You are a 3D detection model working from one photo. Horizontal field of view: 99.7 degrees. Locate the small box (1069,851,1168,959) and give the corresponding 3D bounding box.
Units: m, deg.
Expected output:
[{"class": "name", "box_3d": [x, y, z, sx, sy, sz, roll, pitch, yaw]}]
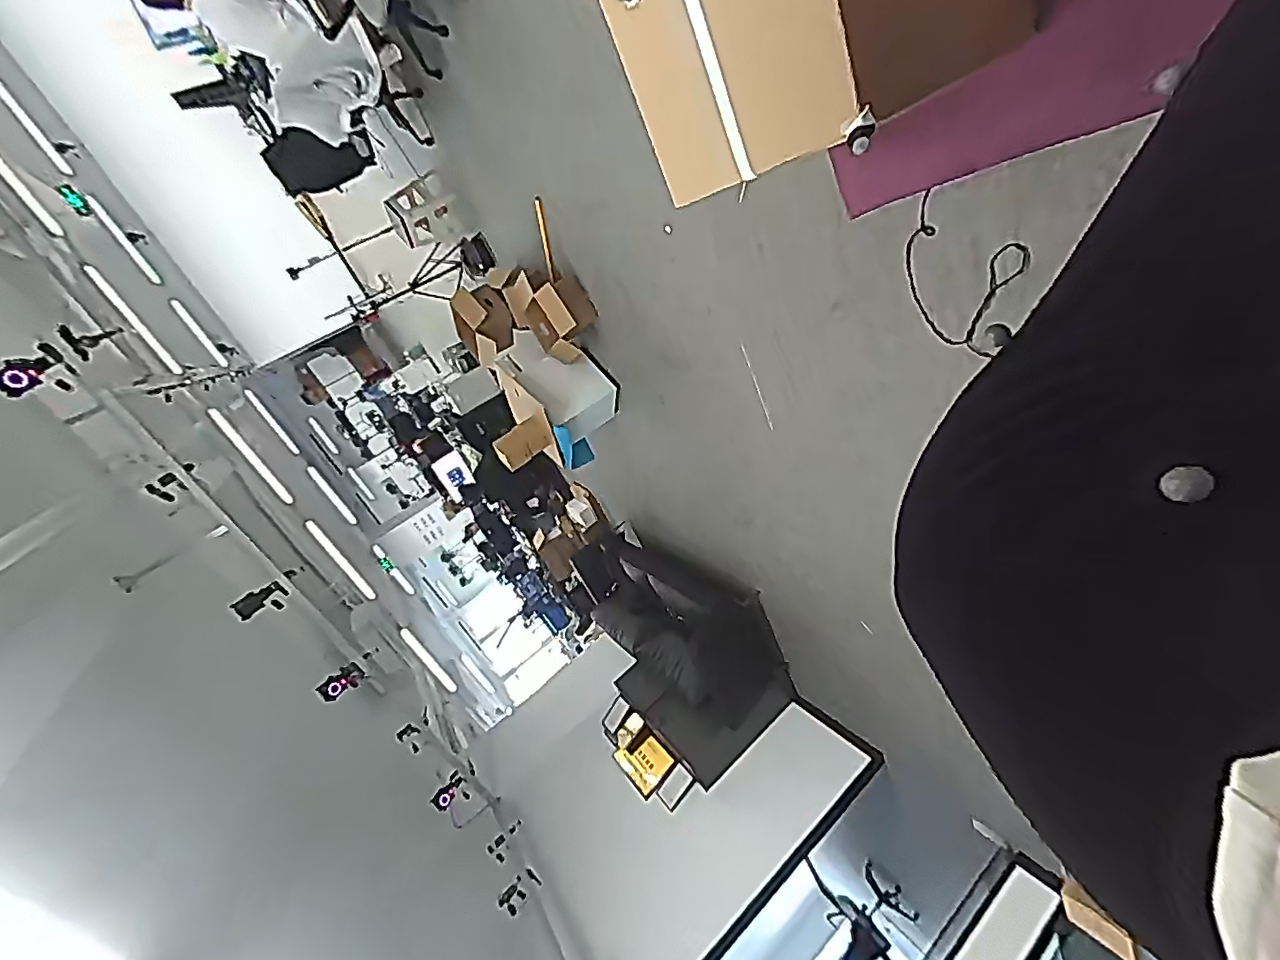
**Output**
[{"class": "small box", "box_3d": [1.380, 1.231, 1.556, 0.168, 0.176, 0.179, 15, 139, 58]}]
